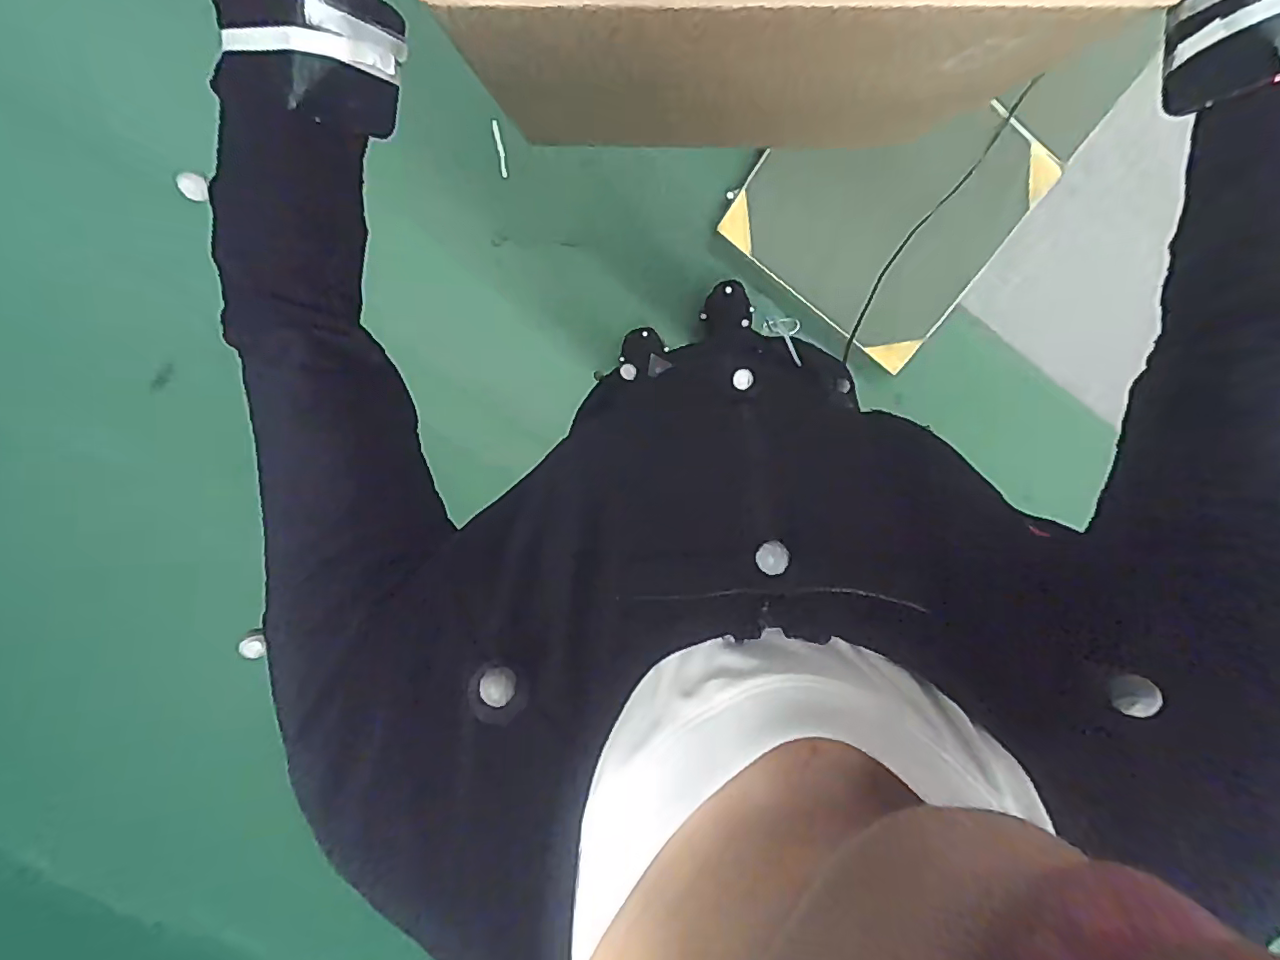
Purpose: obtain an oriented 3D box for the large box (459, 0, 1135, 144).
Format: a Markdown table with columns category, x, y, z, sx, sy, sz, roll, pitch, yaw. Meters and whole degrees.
| category | x | y | z | sx | sy | sz | roll | pitch | yaw |
| --- | --- | --- | --- | --- | --- | --- | --- | --- | --- |
| large box | 0.084 | -0.456 | 0.384 | 0.408 | 0.320 | 0.320 | -1 | 110 | -2 |
